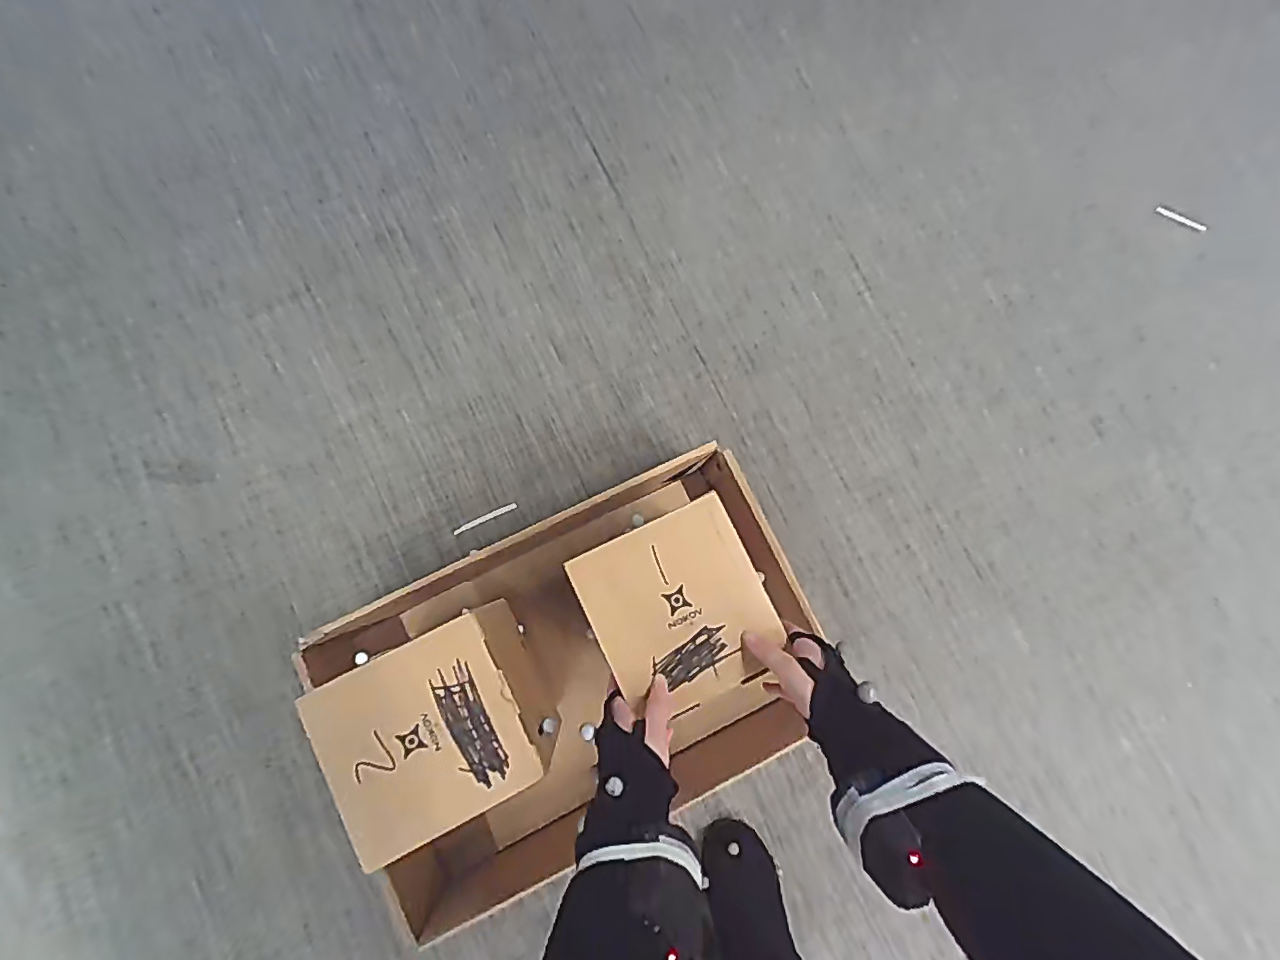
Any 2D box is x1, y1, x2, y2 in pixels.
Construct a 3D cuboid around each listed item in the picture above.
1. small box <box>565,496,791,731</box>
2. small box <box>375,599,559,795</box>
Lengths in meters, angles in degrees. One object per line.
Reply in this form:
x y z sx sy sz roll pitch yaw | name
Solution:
0.035 0.133 0.593 0.168 0.176 0.179 -25 84 -5 | small box
-0.218 0.274 0.729 0.168 0.176 0.179 -22 83 -6 | small box
